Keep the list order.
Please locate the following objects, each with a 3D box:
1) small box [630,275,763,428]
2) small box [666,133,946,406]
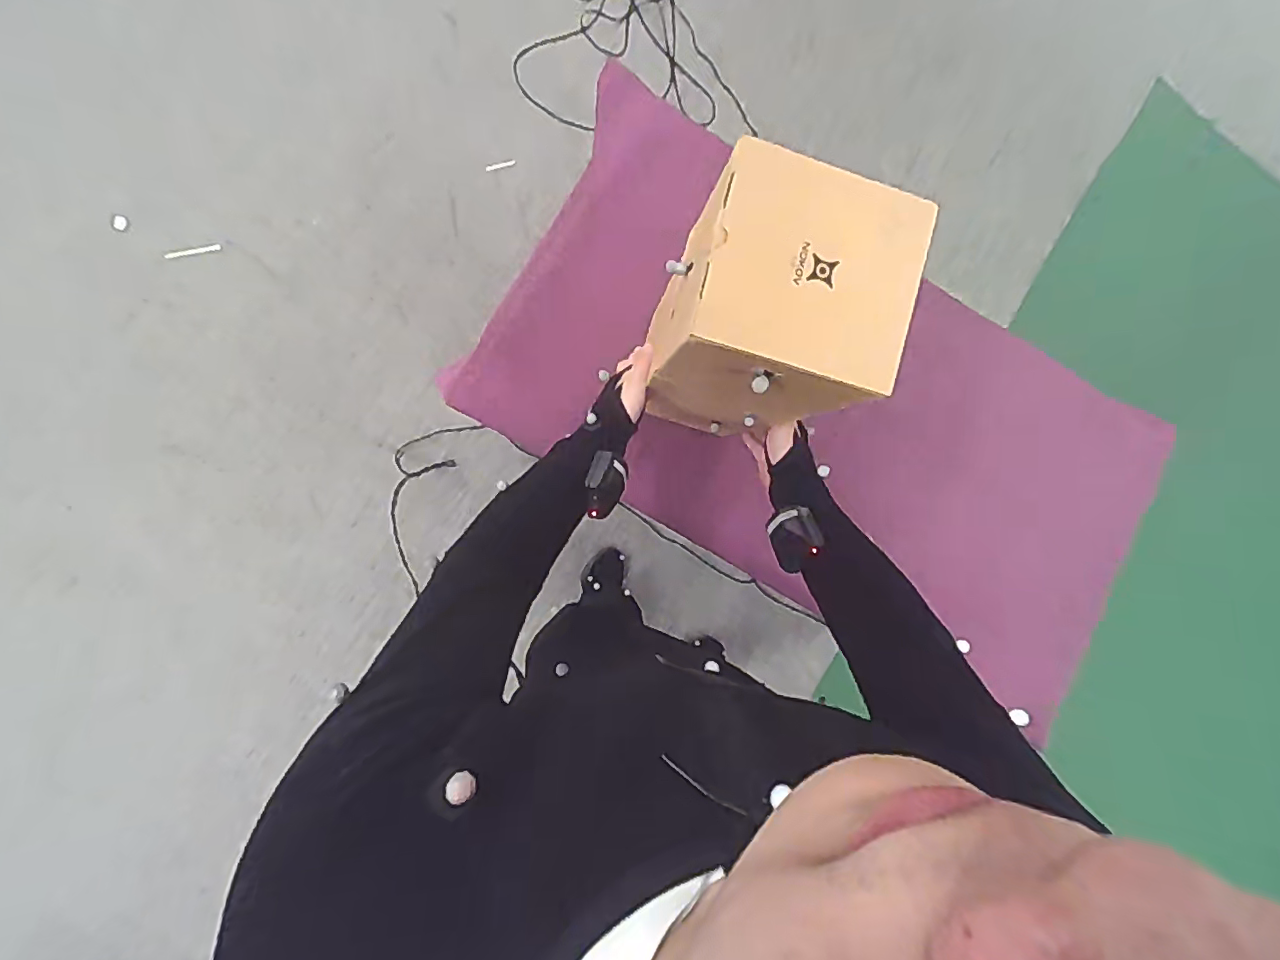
[{"bbox_3d":[0.095,-0.183,0.834,0.179,0.176,0.168,17,88,-7],"label":"small box"},{"bbox_3d":[0.138,-0.173,0.510,0.179,0.176,0.168,15,89,-7],"label":"small box"}]
